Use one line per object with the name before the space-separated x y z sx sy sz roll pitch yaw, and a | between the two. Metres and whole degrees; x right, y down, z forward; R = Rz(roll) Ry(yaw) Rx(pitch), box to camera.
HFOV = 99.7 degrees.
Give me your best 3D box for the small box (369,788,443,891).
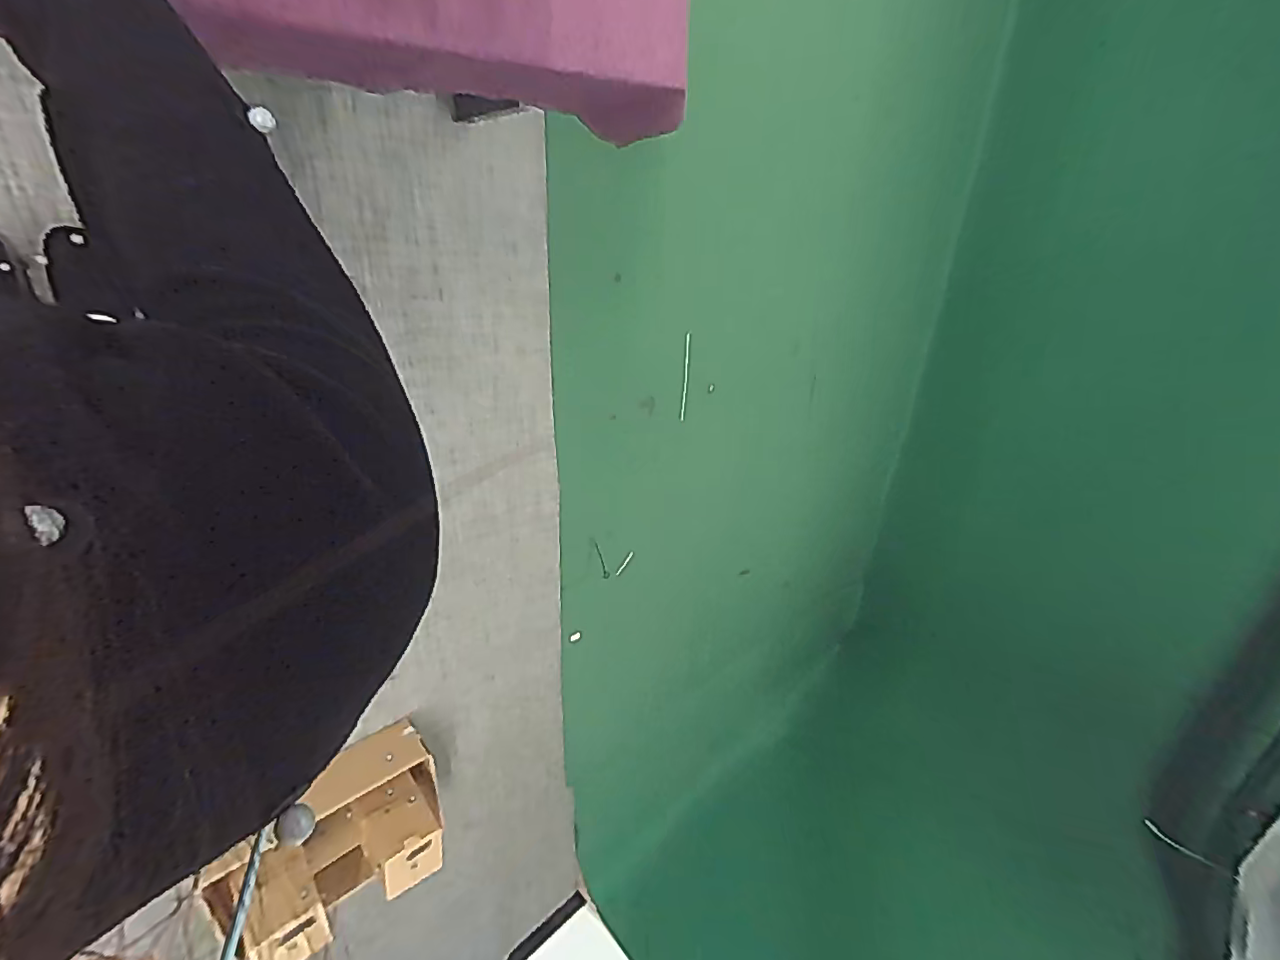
small box | -0.717 1.083 1.653 0.168 0.176 0.179 -12 119 -40
